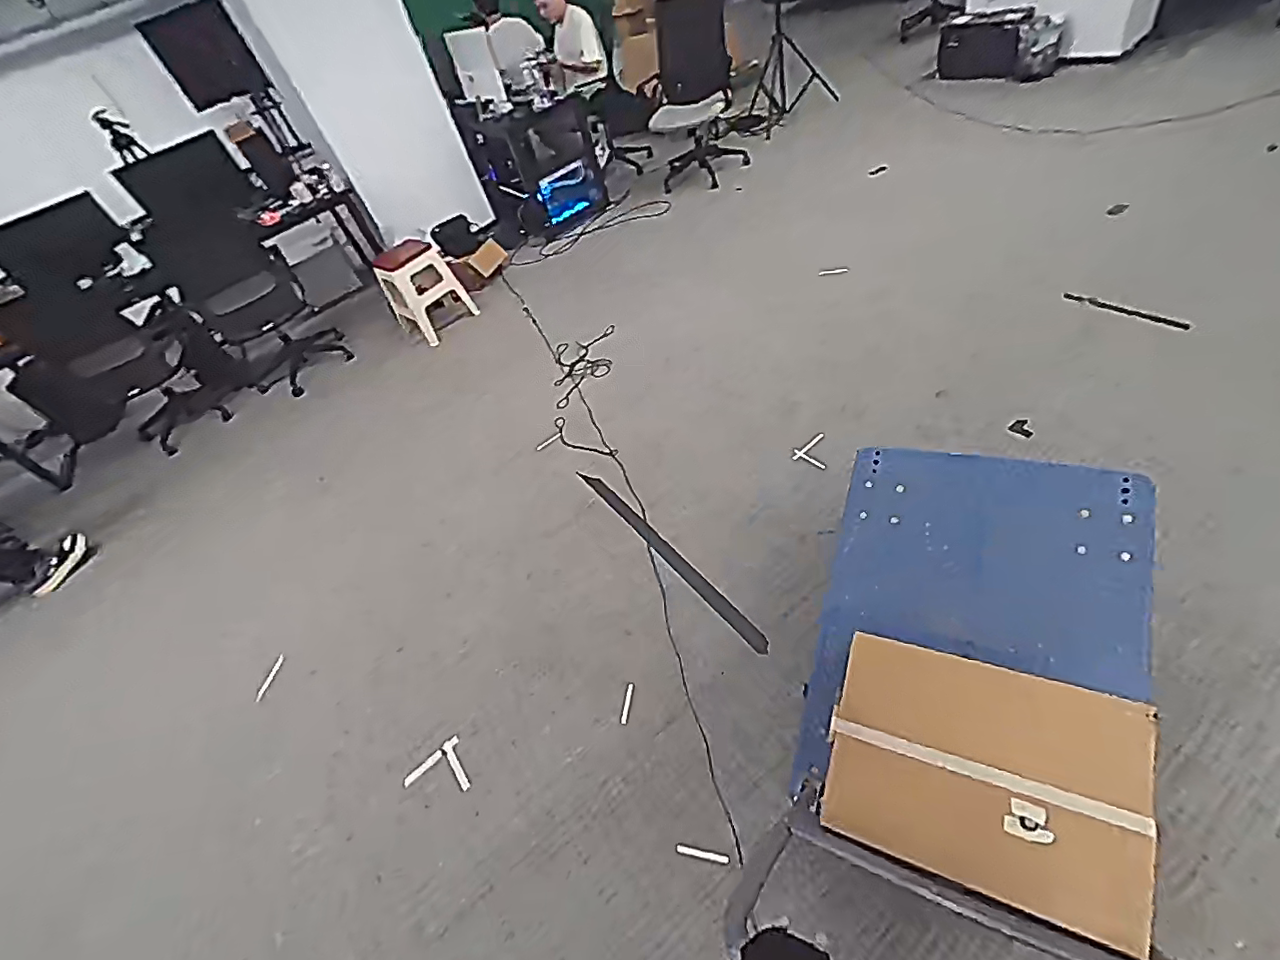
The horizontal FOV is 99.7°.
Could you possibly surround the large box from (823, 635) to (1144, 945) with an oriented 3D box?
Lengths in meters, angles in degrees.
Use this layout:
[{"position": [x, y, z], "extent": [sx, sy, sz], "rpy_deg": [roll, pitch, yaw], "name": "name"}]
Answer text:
[{"position": [0.566, 0.495, 0.953], "extent": [0.408, 0.320, 0.320], "rpy_deg": [9, 73, 27], "name": "large box"}]
